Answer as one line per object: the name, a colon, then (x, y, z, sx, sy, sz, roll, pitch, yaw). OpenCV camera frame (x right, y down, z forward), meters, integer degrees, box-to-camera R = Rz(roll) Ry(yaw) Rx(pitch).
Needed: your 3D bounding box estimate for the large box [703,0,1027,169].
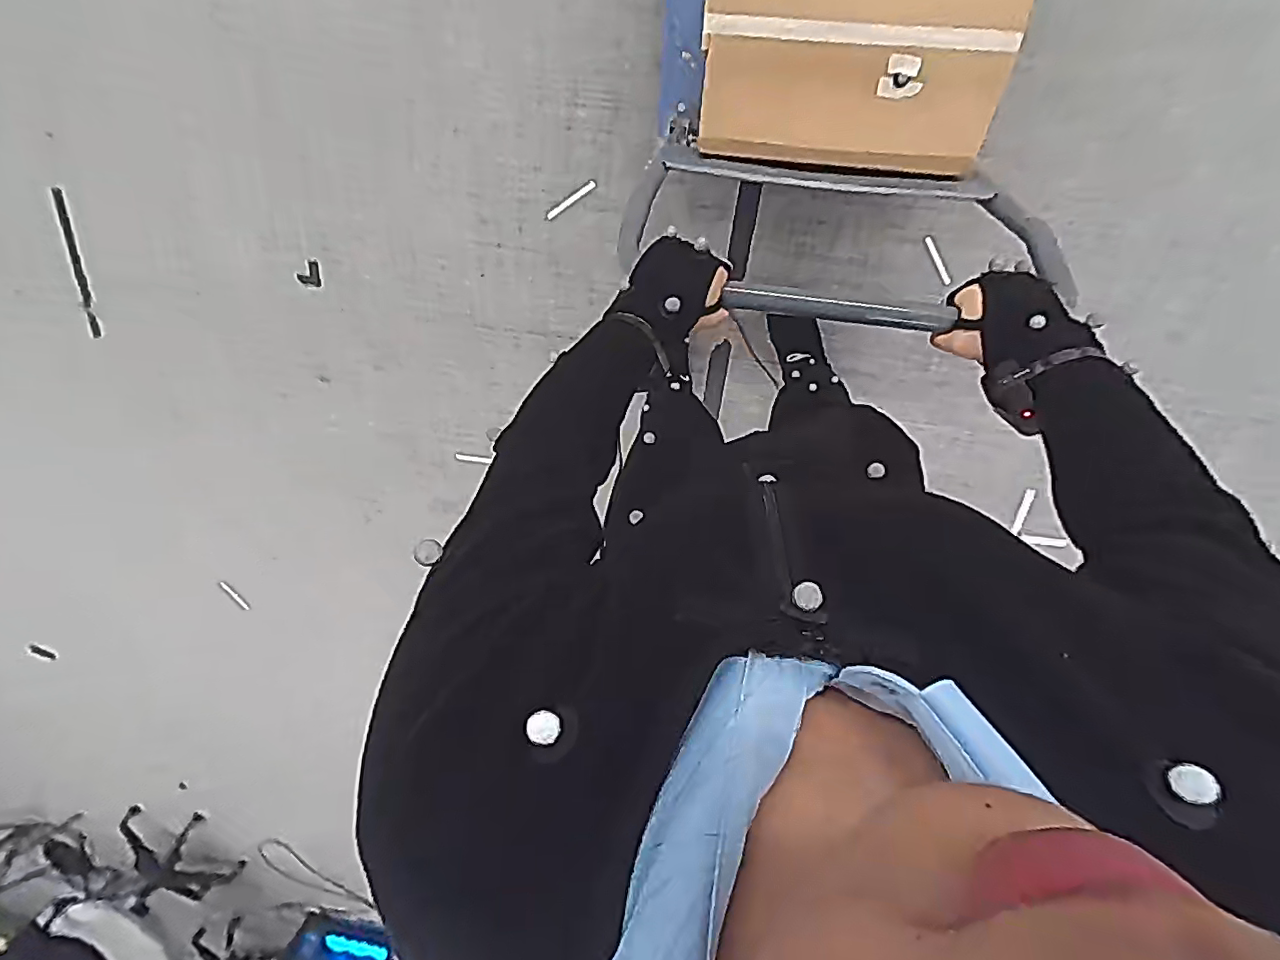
large box: (0.318, -0.698, 0.852, 0.408, 0.320, 0.320, 7, 129, 5)
